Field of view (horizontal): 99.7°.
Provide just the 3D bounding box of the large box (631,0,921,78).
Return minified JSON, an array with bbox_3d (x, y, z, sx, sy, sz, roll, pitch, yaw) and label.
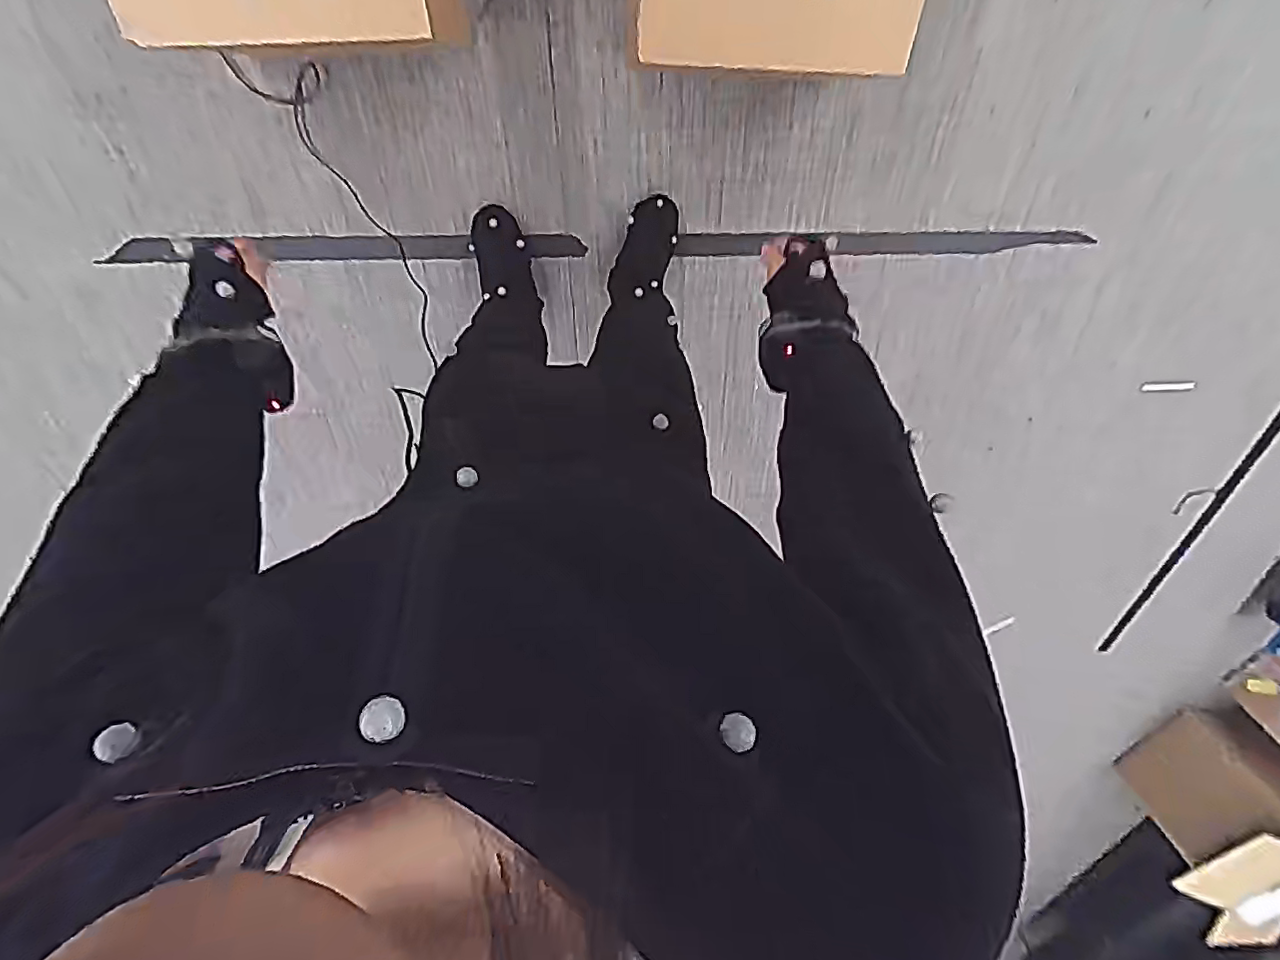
[{"bbox_3d":[0.194,-0.824,0.834,0.408,0.320,0.320,-1,126,-5],"label":"large box"}]
